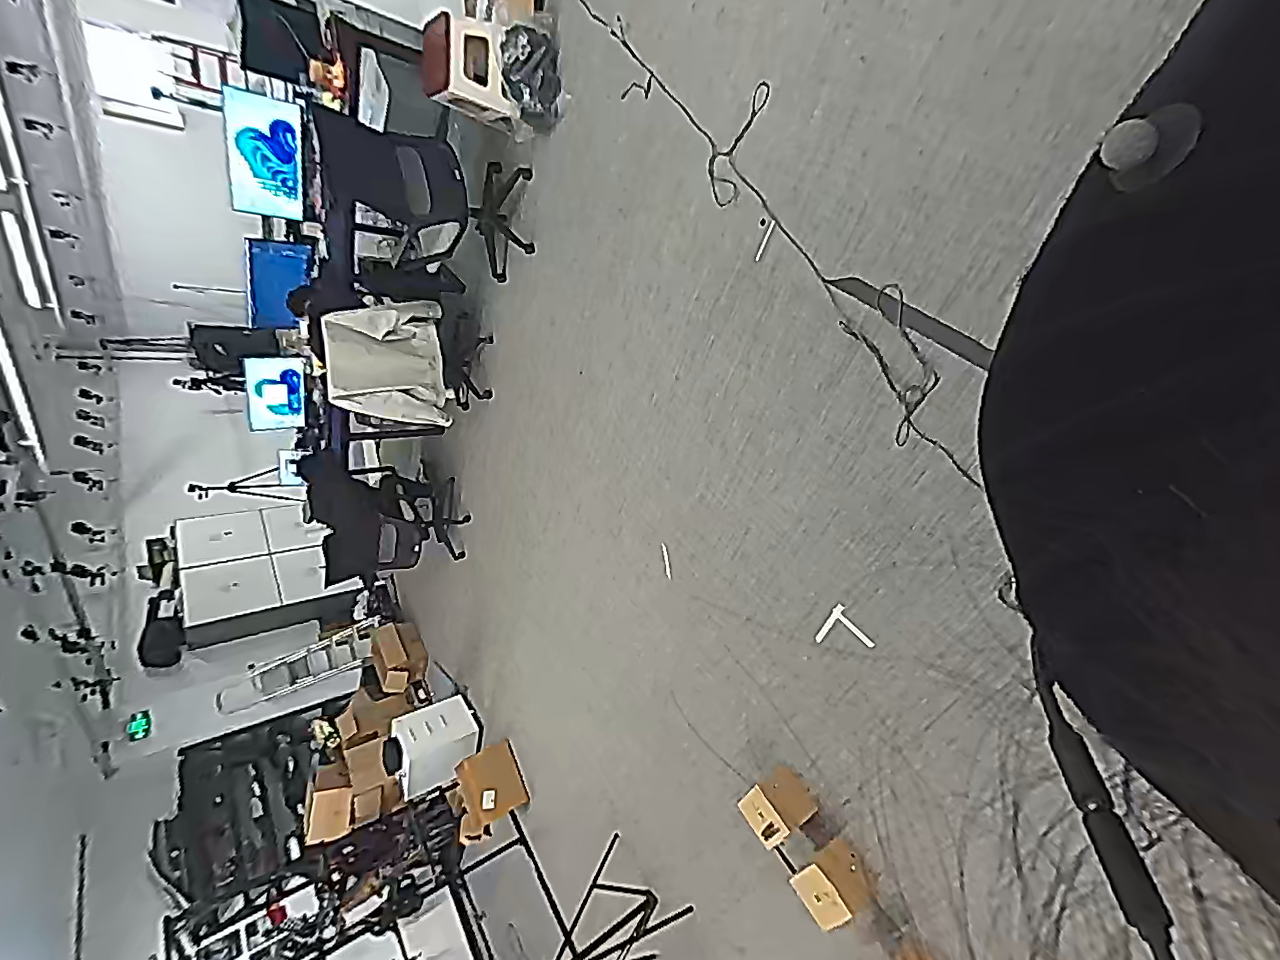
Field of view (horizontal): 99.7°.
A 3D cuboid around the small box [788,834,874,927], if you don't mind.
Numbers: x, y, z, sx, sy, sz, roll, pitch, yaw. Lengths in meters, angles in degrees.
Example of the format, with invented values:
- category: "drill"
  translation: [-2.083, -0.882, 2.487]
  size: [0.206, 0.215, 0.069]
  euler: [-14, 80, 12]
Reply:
- category: "small box"
  translation: [0.636, 1.325, 1.794]
  size: [0.168, 0.176, 0.179]
  euler: [50, 132, 32]

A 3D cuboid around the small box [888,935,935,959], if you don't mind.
- category: "small box"
  translation: [0.820, 1.531, 1.614]
  size: [0.179, 0.176, 0.168]
  euler: [35, 122, 41]
